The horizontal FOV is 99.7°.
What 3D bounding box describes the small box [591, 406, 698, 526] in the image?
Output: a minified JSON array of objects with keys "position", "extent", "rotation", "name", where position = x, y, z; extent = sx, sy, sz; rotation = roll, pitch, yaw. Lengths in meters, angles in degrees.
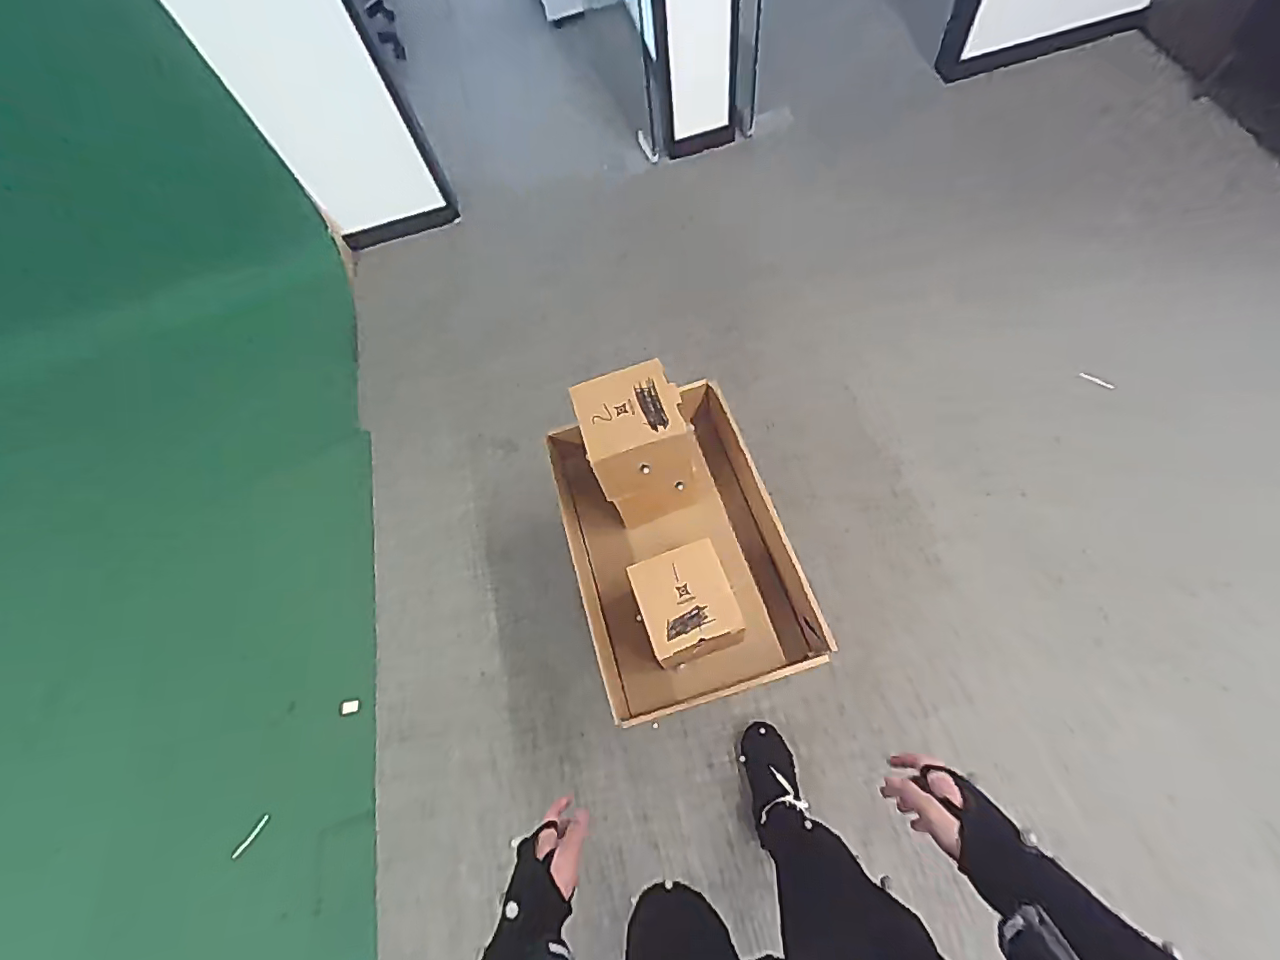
[{"position":[0.014,-0.023,1.153],"extent":[0.179,0.176,0.168],"rotation":[-21,64,-2],"name":"small box"}]
